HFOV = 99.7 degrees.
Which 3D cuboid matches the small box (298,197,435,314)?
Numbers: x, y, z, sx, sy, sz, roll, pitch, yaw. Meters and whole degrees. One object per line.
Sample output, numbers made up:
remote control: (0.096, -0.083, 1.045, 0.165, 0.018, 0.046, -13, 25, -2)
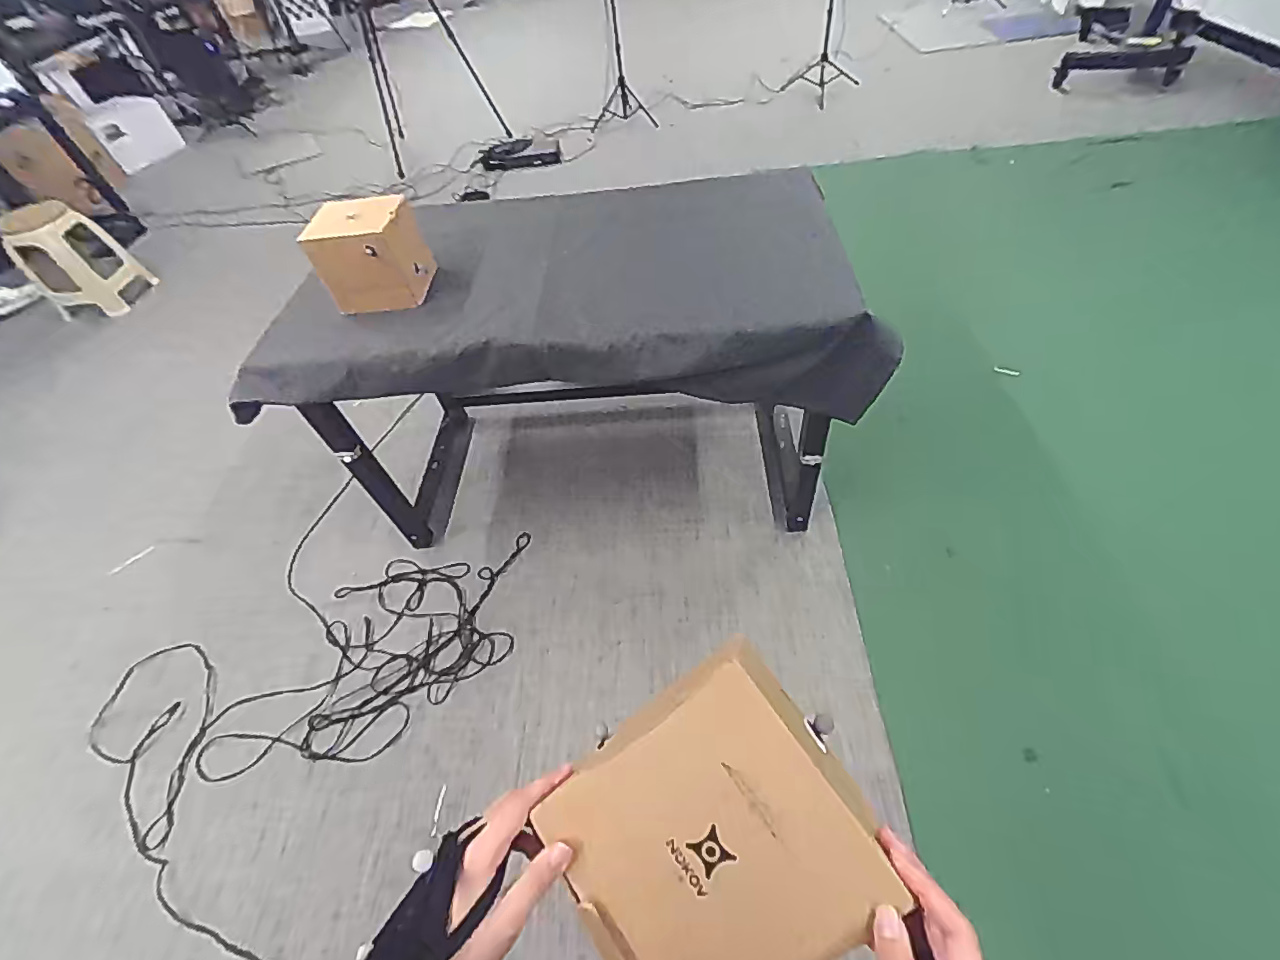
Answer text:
small box: (-0.561, -0.466, 1.135, 0.179, 0.176, 0.168, -4, 51, 4)
